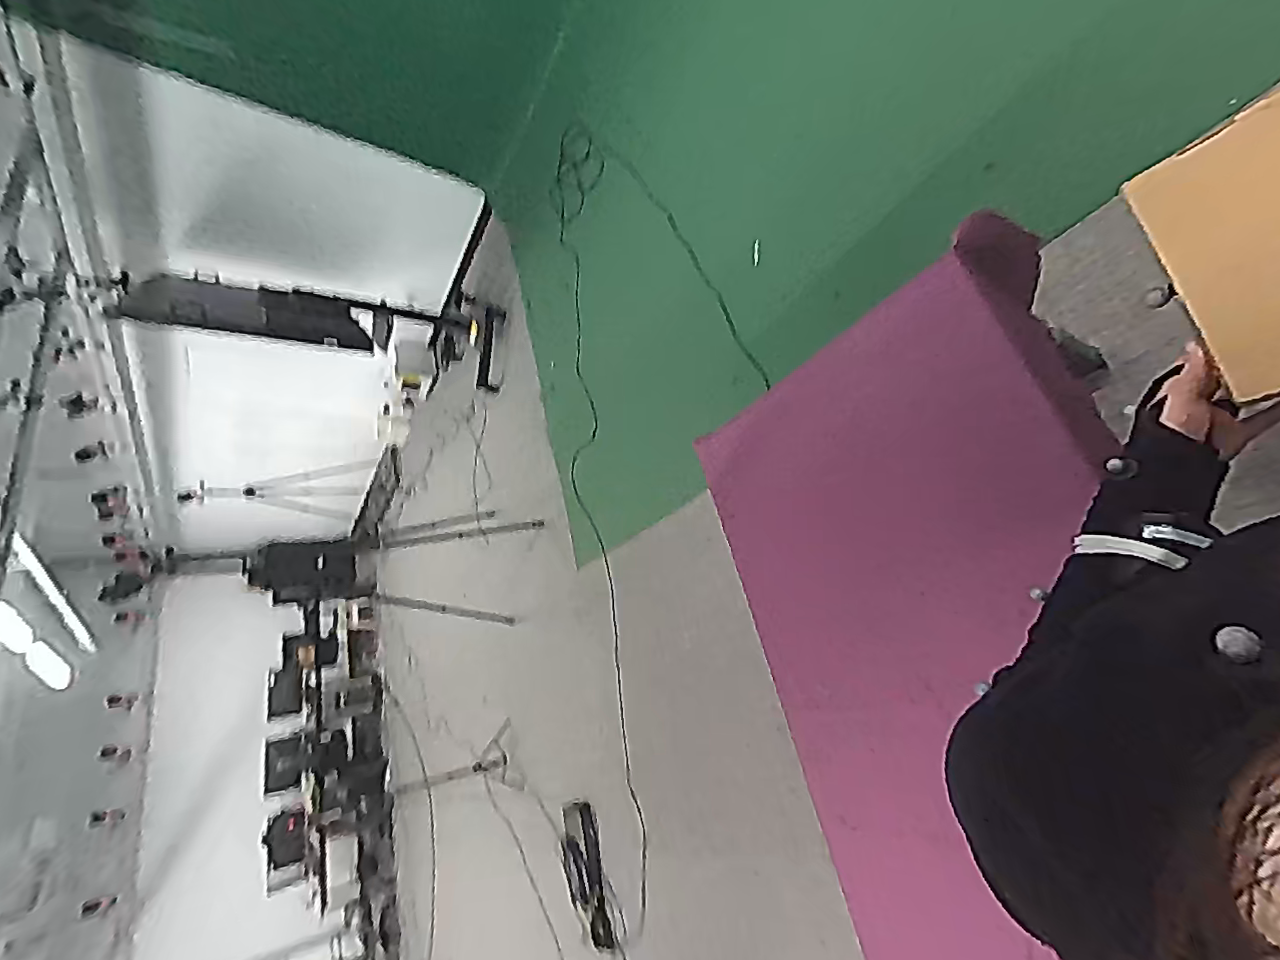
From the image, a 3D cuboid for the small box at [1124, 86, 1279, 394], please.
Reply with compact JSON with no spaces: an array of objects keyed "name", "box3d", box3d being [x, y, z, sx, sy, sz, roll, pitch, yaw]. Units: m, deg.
[{"name":"small box","box3d":[0.482,-0.170,0.368,0.168,0.176,0.179,-27,73,47]}]
